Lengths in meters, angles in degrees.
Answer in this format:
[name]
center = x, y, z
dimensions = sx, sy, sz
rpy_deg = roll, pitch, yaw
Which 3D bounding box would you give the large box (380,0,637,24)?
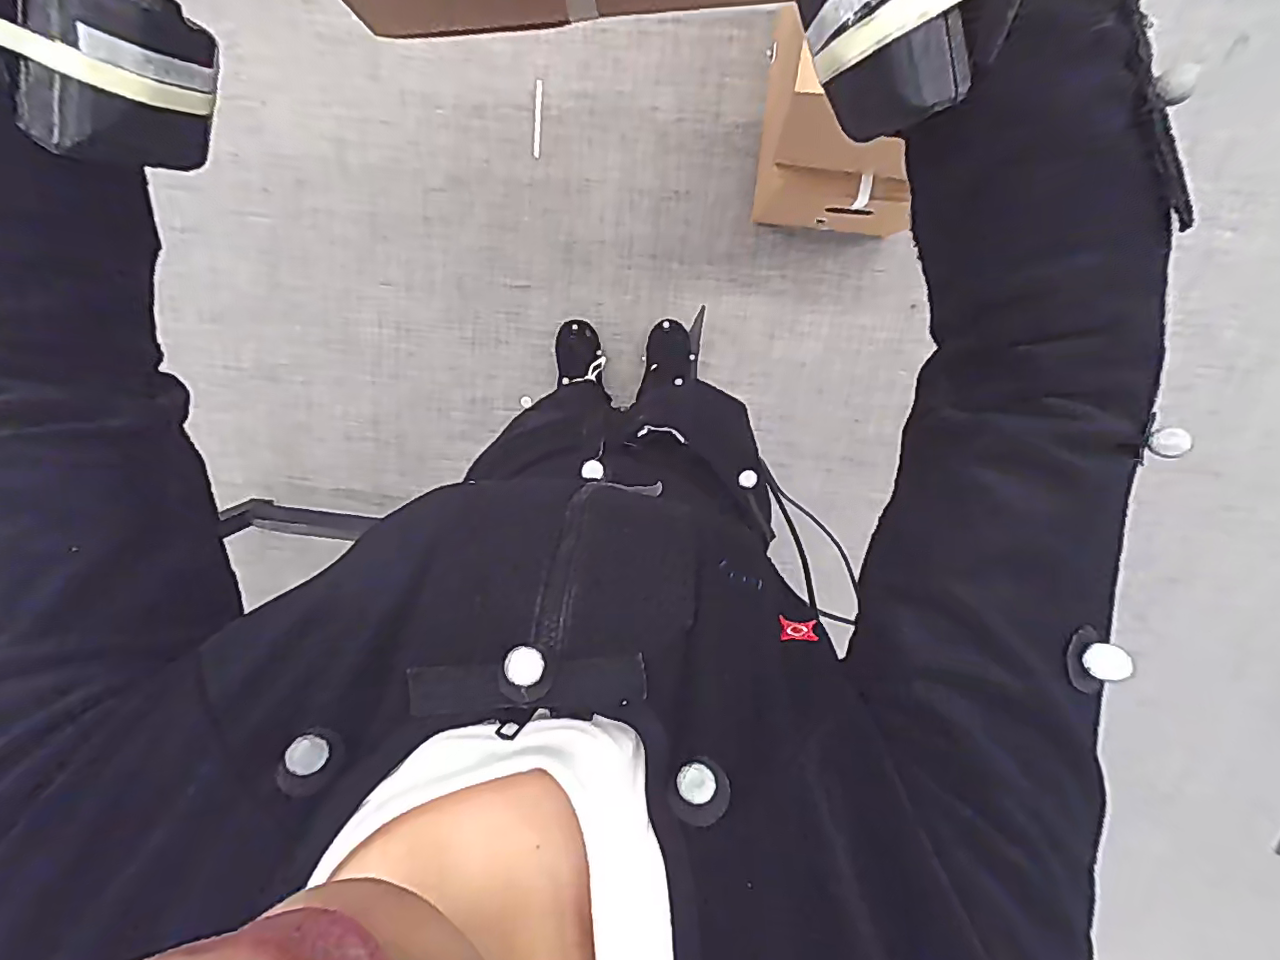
[large box]
center = -0.047, -0.489, 0.189
dimensions = 0.320, 0.320, 0.408
rpy_deg = -3, 104, 4
